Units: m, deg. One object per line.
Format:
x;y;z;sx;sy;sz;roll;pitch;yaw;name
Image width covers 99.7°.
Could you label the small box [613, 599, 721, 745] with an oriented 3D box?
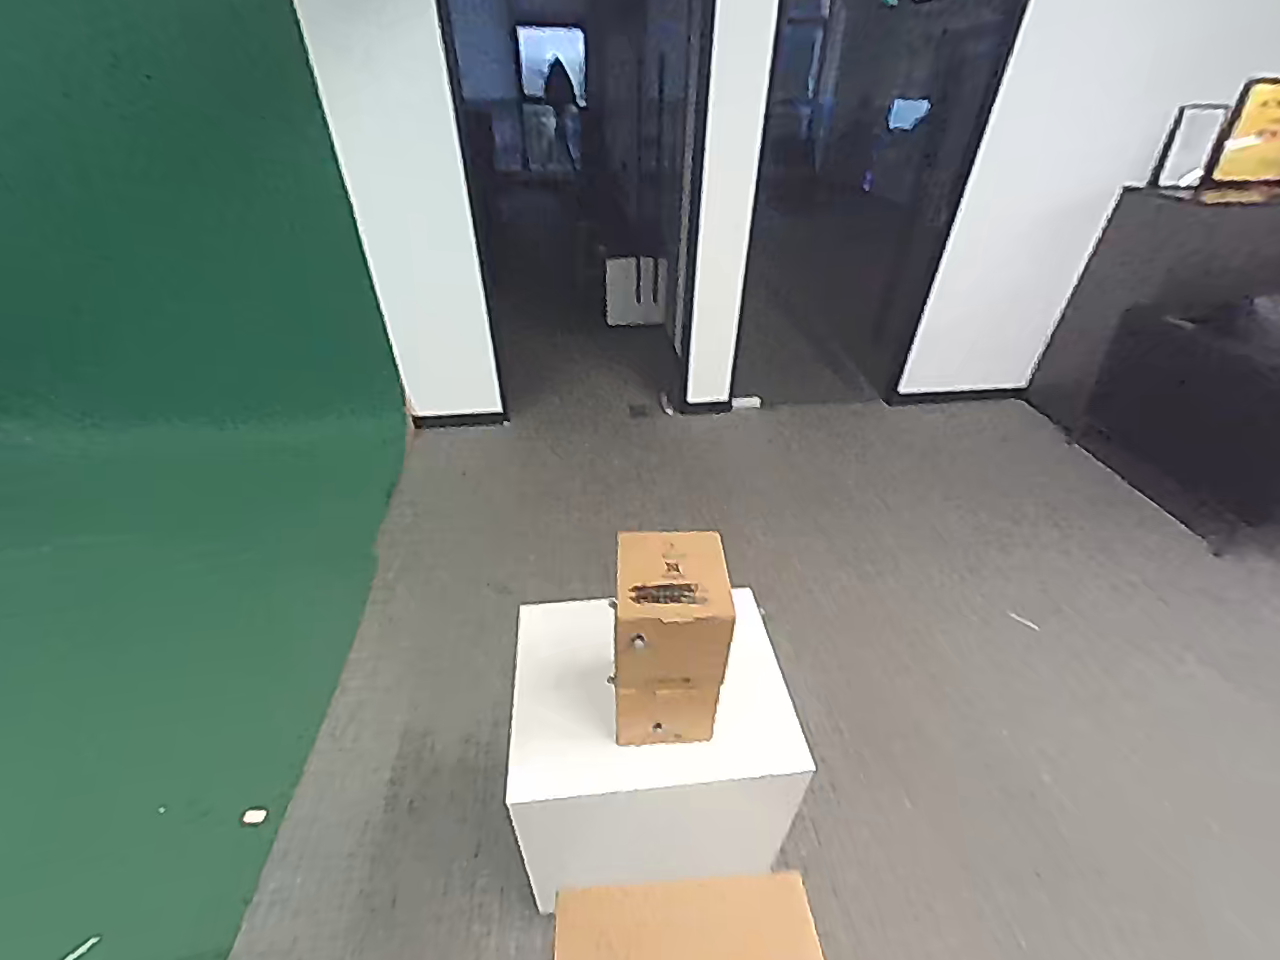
0.037;0.329;0.935;0.168;0.176;0.179;-2;36;-3;small box
